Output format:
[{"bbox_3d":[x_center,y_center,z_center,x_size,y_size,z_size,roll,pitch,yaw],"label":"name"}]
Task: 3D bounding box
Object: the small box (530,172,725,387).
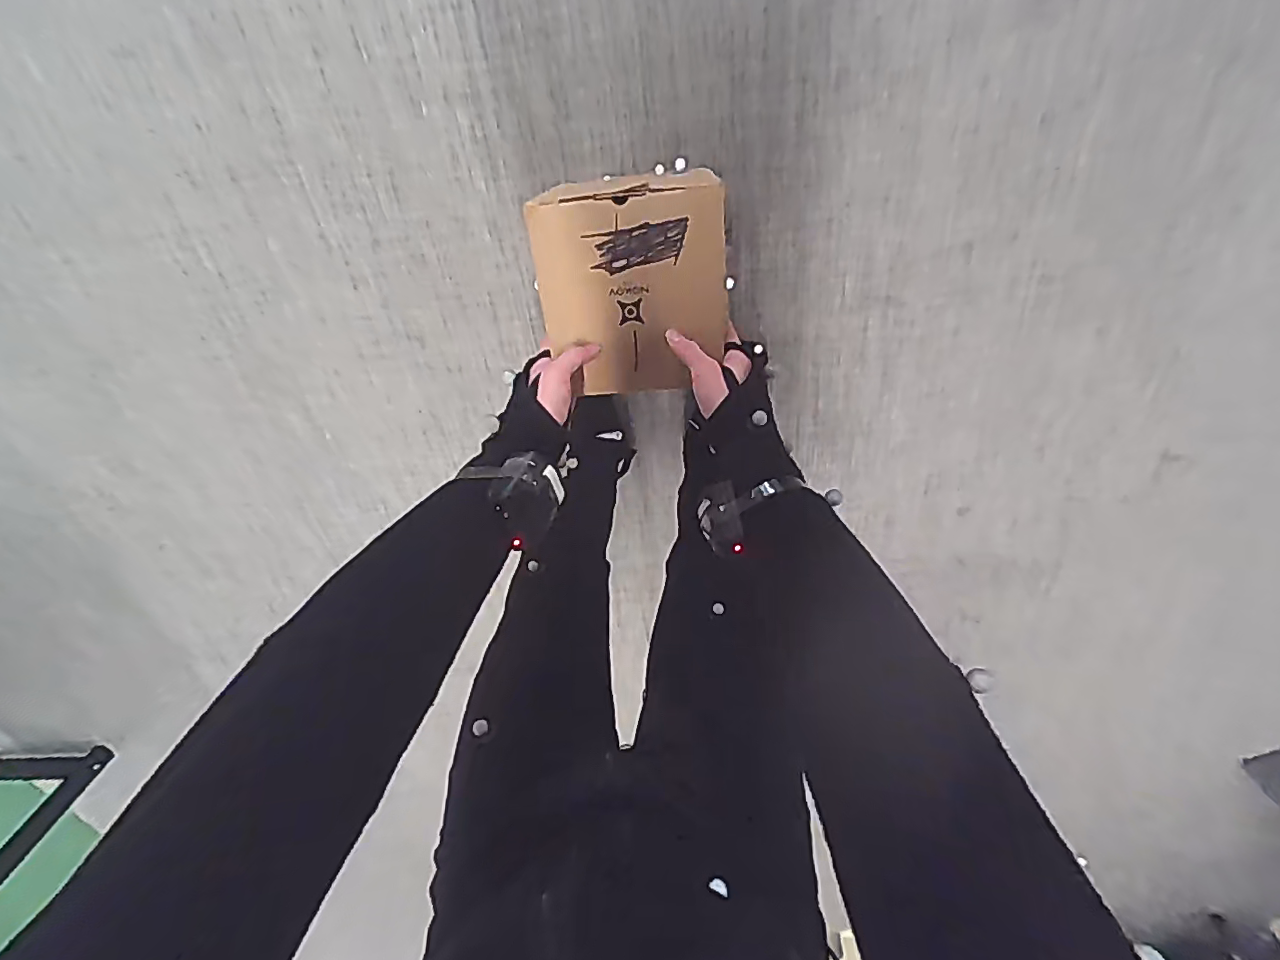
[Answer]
[{"bbox_3d":[-0.002,-0.211,0.555,0.168,0.176,0.179,-2,123,6],"label":"small box"}]
